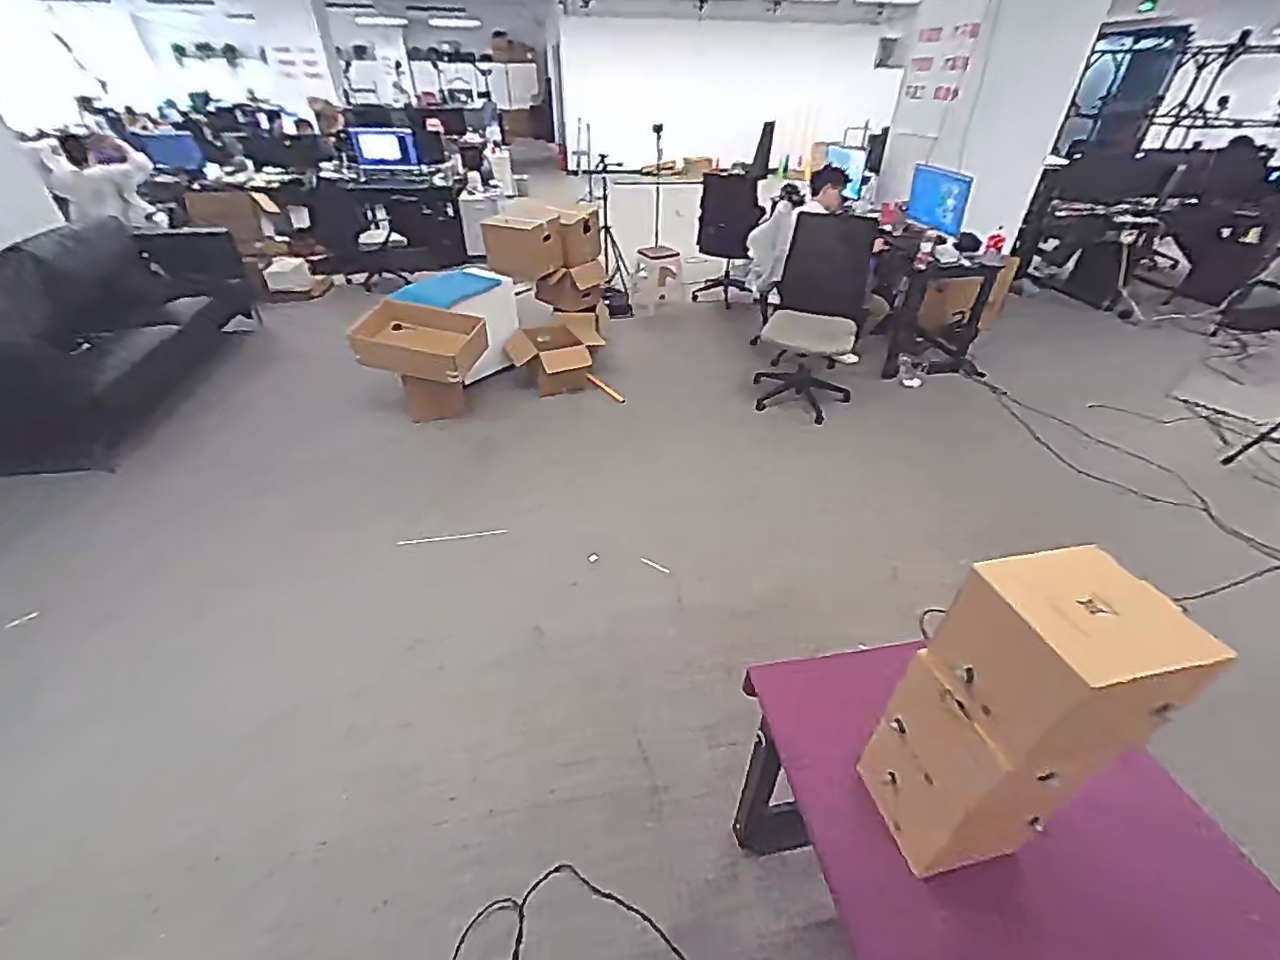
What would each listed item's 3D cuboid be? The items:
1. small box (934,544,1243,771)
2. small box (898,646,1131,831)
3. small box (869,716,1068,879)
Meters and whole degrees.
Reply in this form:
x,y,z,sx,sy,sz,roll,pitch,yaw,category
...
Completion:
x,y,z,sx,sy,sz,roll,pitch,yaw,category
0.479,0.197,0.613,0.179,0.176,0.168,-6,37,-10,small box
0.468,0.328,0.710,0.179,0.176,0.168,-6,37,-11,small box
0.468,0.460,0.809,0.179,0.176,0.168,-7,37,-11,small box
